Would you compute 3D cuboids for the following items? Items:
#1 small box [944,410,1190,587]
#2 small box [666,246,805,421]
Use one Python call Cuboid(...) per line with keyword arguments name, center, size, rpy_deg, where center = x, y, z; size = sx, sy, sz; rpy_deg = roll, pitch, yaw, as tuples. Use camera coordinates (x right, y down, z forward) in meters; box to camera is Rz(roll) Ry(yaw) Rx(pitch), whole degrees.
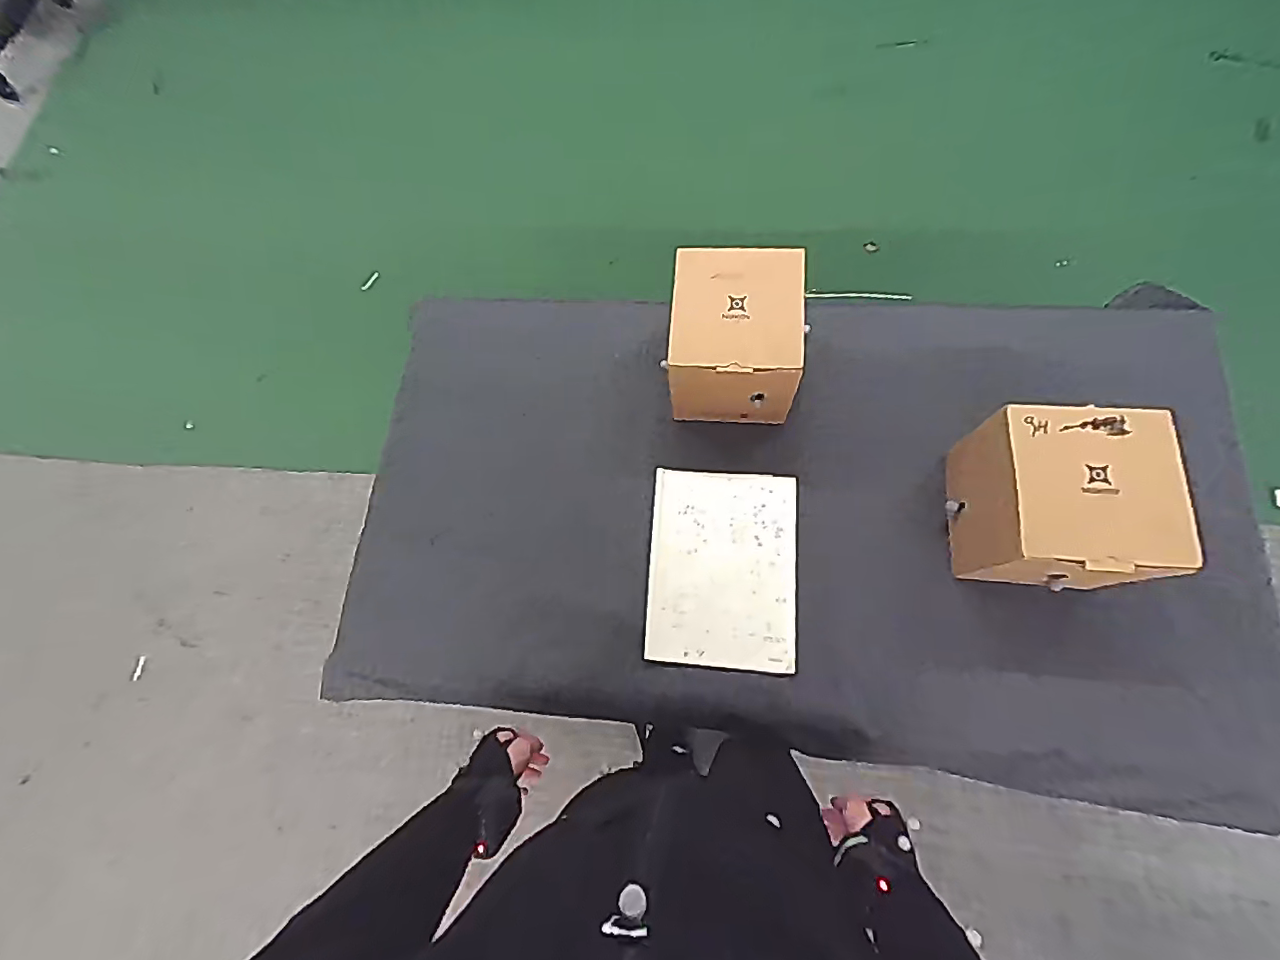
Cuboid(name="small box", center=(0.487, 0.031, 0.648), size=(0.168, 0.176, 0.179), rpy_deg=(4, 75, 7))
Cuboid(name="small box", center=(0.127, -0.191, 0.740), size=(0.168, 0.176, 0.179), rpy_deg=(3, 73, 6))
